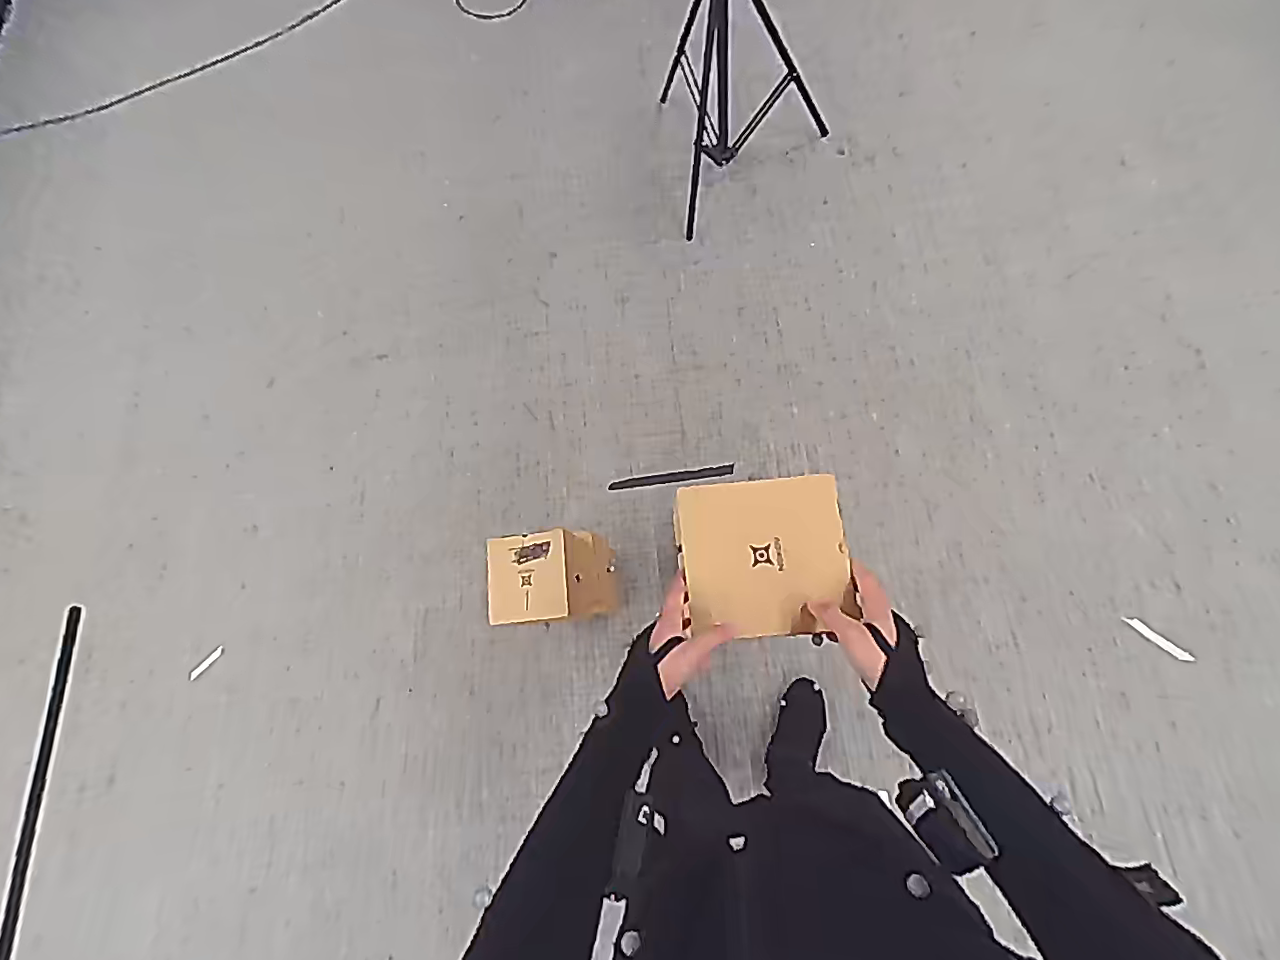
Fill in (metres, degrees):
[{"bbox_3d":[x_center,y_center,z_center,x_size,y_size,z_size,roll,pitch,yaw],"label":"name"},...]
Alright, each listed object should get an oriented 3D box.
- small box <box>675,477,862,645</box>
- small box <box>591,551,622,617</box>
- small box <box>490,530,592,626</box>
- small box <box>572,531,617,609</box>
[{"bbox_3d":[0.135,0.103,0.641,0.179,0.176,0.168,-6,76,0],"label":"small box"},{"bbox_3d":[-0.150,0.279,1.464,0.168,0.176,0.179,-11,74,7],"label":"small box"},{"bbox_3d":[-0.205,0.213,1.146,0.168,0.176,0.179,-8,74,9],"label":"small box"},{"bbox_3d":[-0.165,0.231,1.307,0.179,0.176,0.168,-12,73,6],"label":"small box"}]
